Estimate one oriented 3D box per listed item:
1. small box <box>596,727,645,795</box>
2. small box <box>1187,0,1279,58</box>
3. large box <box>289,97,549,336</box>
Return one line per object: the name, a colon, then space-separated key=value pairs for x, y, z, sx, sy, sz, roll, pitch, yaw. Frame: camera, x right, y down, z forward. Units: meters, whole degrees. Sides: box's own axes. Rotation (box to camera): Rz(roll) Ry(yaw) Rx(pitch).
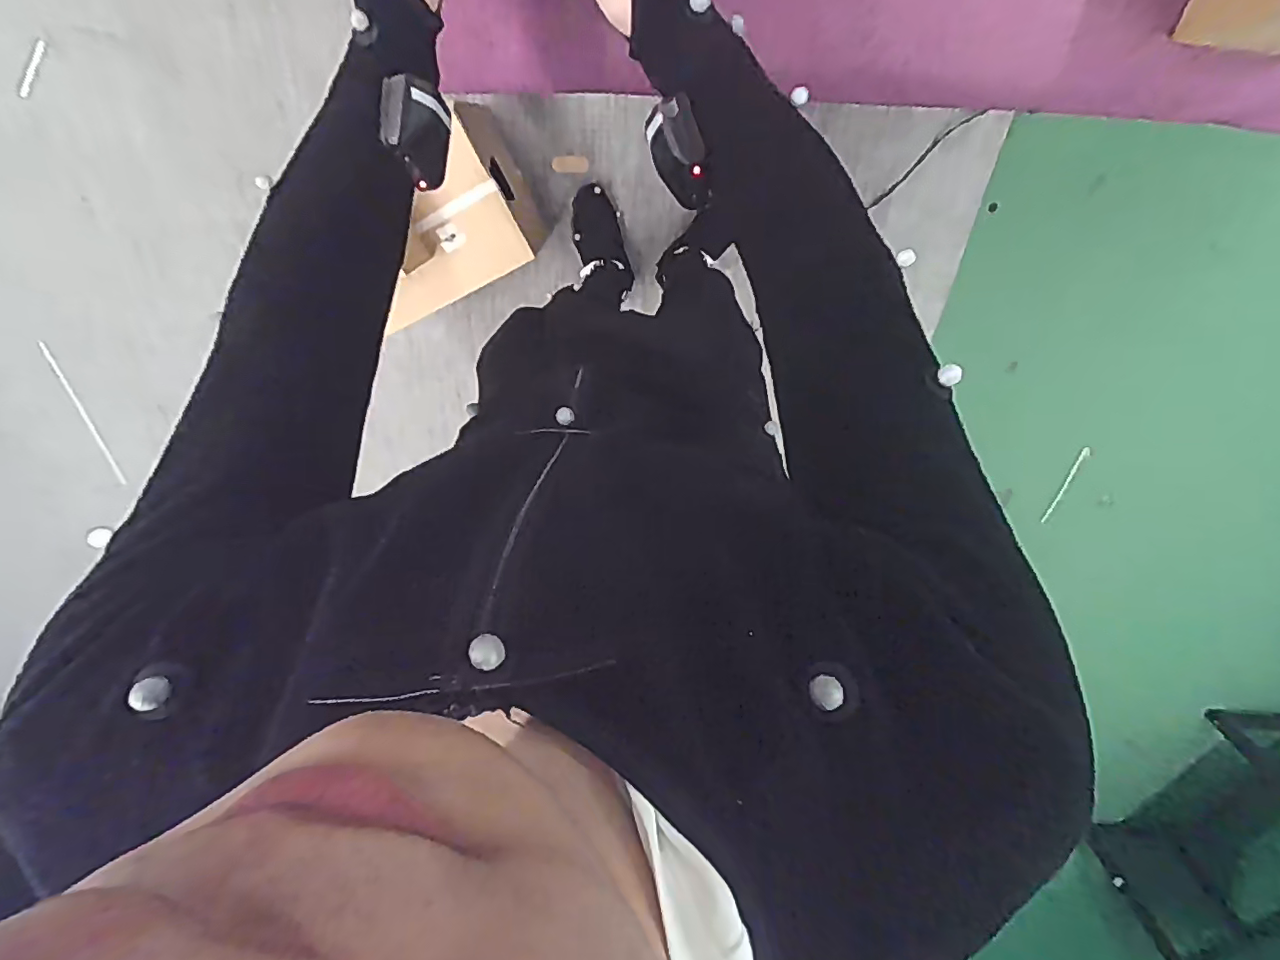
small box: x=-0.076 y=1.139 z=2.194 sx=0.168 sy=0.176 sz=0.179 roll=11 pitch=121 yaw=-6
small box: x=0.703 y=-0.533 z=0.515 sx=0.168 sy=0.176 sz=0.179 roll=4 pitch=120 yaw=-2
large box: x=-0.466 y=-0.591 z=1.231 sx=0.408 sy=0.320 sz=0.320 roll=-23 pitch=122 yaw=11
